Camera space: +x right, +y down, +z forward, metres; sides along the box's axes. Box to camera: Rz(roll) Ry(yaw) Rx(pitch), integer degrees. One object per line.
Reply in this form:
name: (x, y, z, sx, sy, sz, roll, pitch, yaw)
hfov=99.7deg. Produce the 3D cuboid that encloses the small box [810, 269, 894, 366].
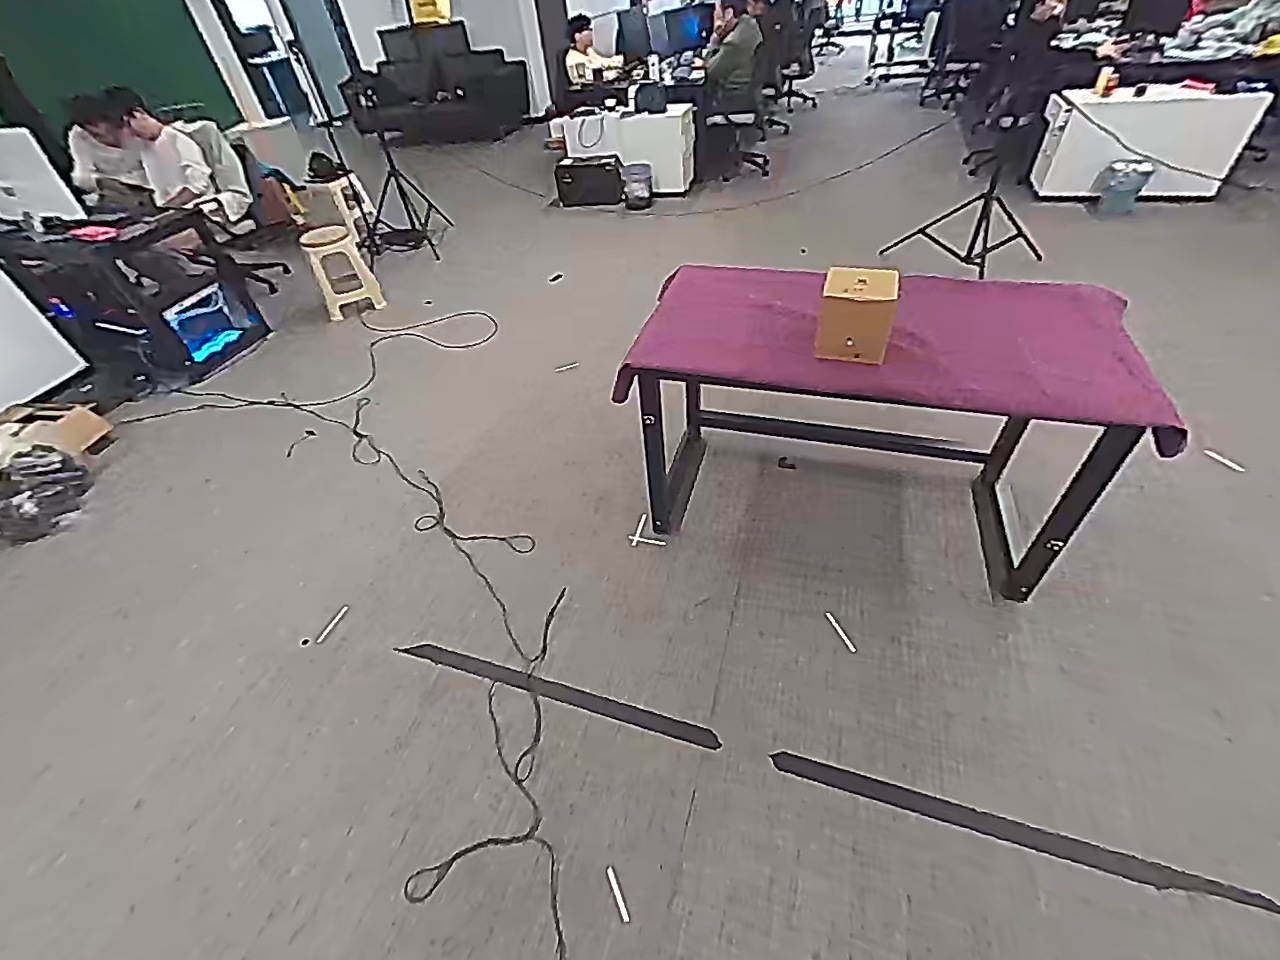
small box: (0.532, -0.412, 1.365, 0.168, 0.176, 0.179, 10, 45, 18)
